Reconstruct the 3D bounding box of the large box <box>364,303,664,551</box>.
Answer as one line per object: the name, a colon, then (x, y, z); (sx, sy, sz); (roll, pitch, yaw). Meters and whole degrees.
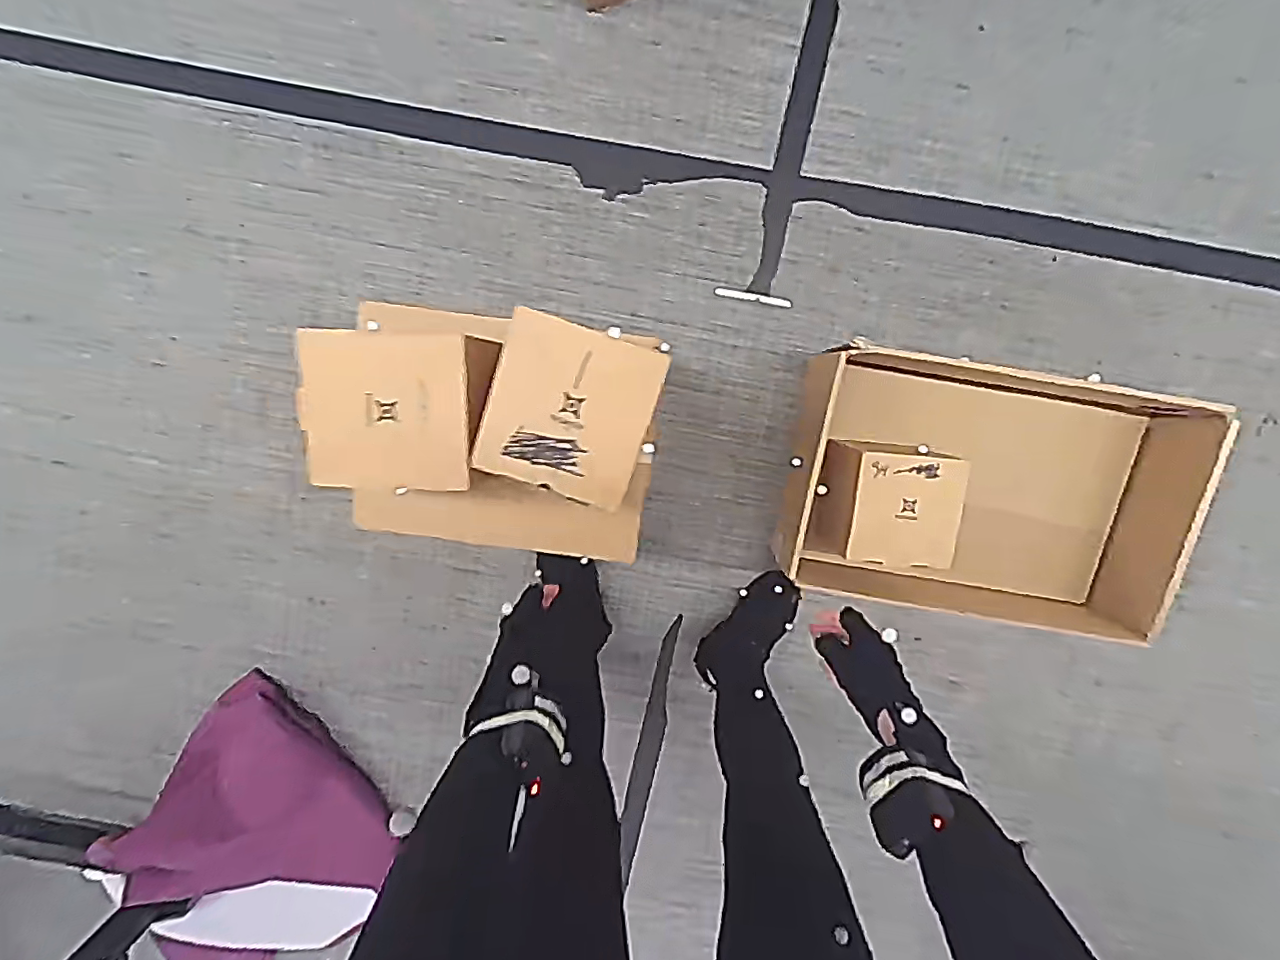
large box: (-0.179, -0.091, 0.889); (0.408, 0.320, 0.320); (7, 101, 0)
